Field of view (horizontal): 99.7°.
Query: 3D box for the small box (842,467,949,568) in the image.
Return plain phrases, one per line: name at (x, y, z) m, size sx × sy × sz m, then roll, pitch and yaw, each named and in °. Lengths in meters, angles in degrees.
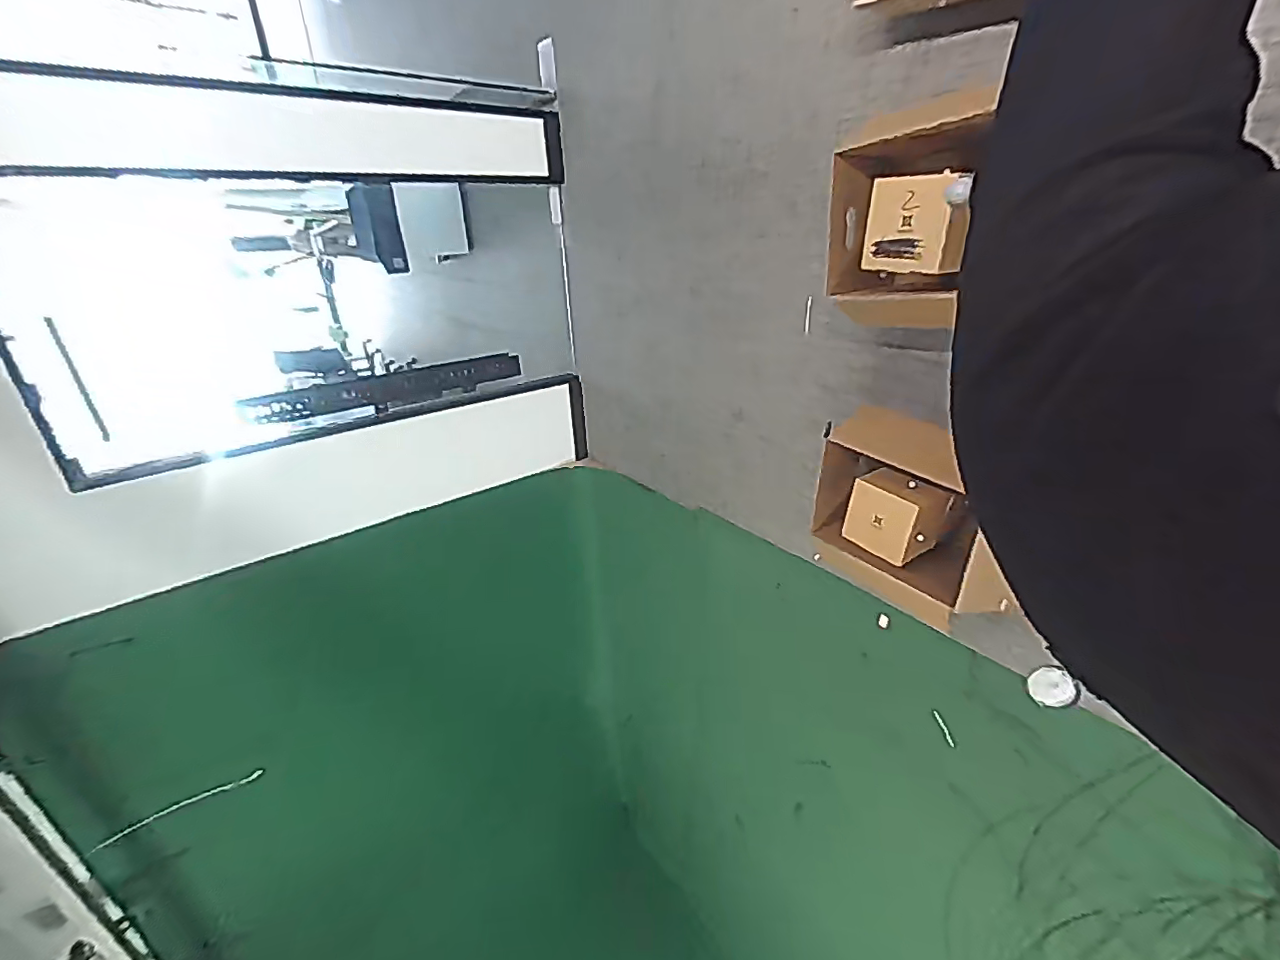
small box at (0.643, 0.085, 1.360) m, size 0.168 × 0.176 × 0.179 m, roll 33°, pitch 130°, yaw 44°
